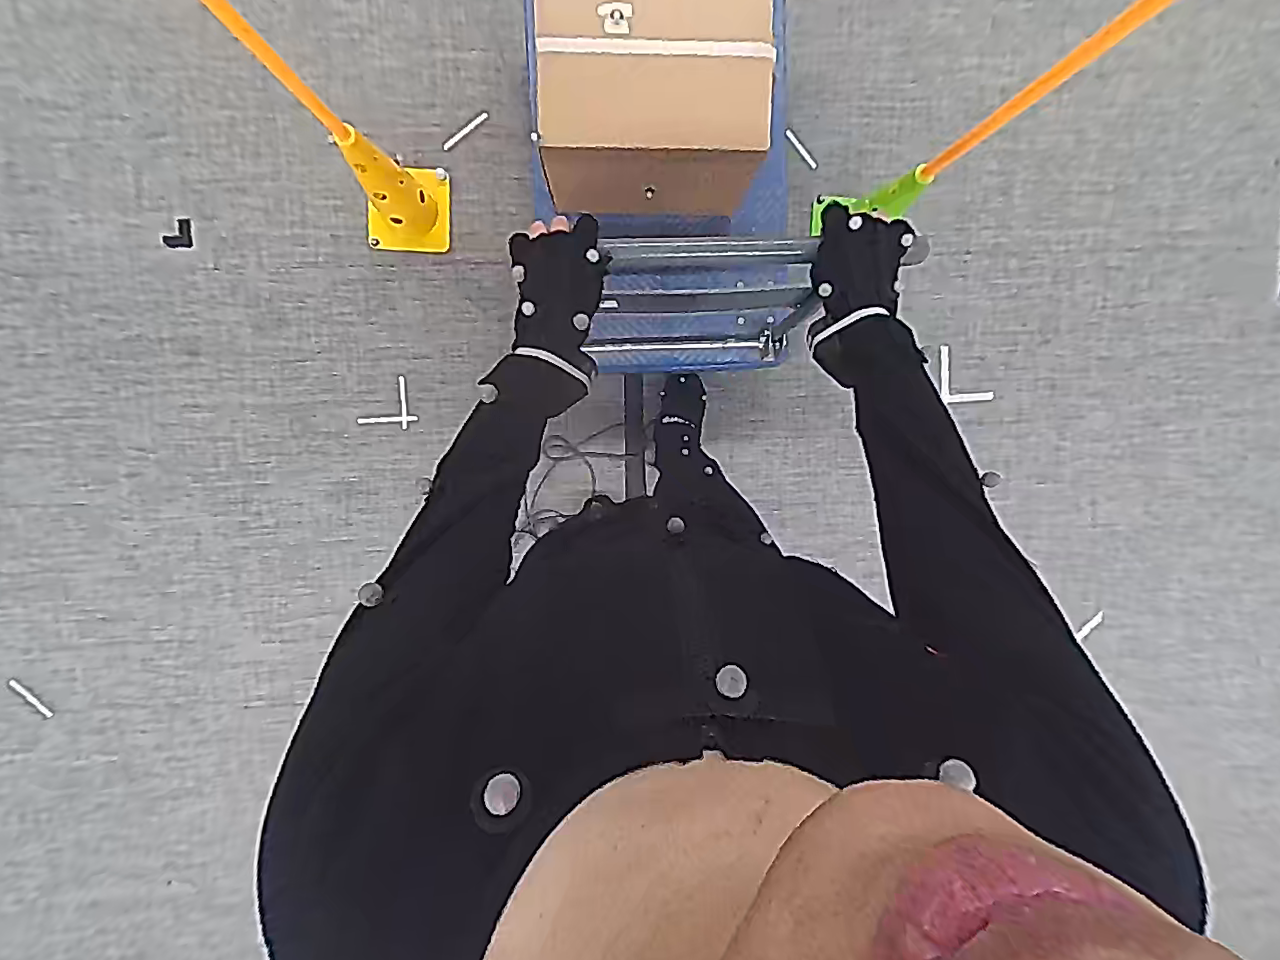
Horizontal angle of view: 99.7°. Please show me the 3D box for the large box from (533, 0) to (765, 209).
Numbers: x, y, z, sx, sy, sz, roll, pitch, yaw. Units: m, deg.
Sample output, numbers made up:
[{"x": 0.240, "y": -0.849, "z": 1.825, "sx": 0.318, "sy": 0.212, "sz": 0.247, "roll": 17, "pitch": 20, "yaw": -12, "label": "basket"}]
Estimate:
[{"x": 0.014, "y": -0.752, "z": 1.076, "sx": 0.408, "sy": 0.320, "sz": 0.320, "roll": 0, "pitch": 96, "yaw": -2, "label": "large box"}]

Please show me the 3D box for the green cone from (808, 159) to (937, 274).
[{"x": 0.561, "y": -0.638, "z": 1.263, "sx": 0.202, "sy": 0.368, "sz": 0.200, "roll": 2, "pitch": 95, "yaw": -5, "label": "green cone"}]
